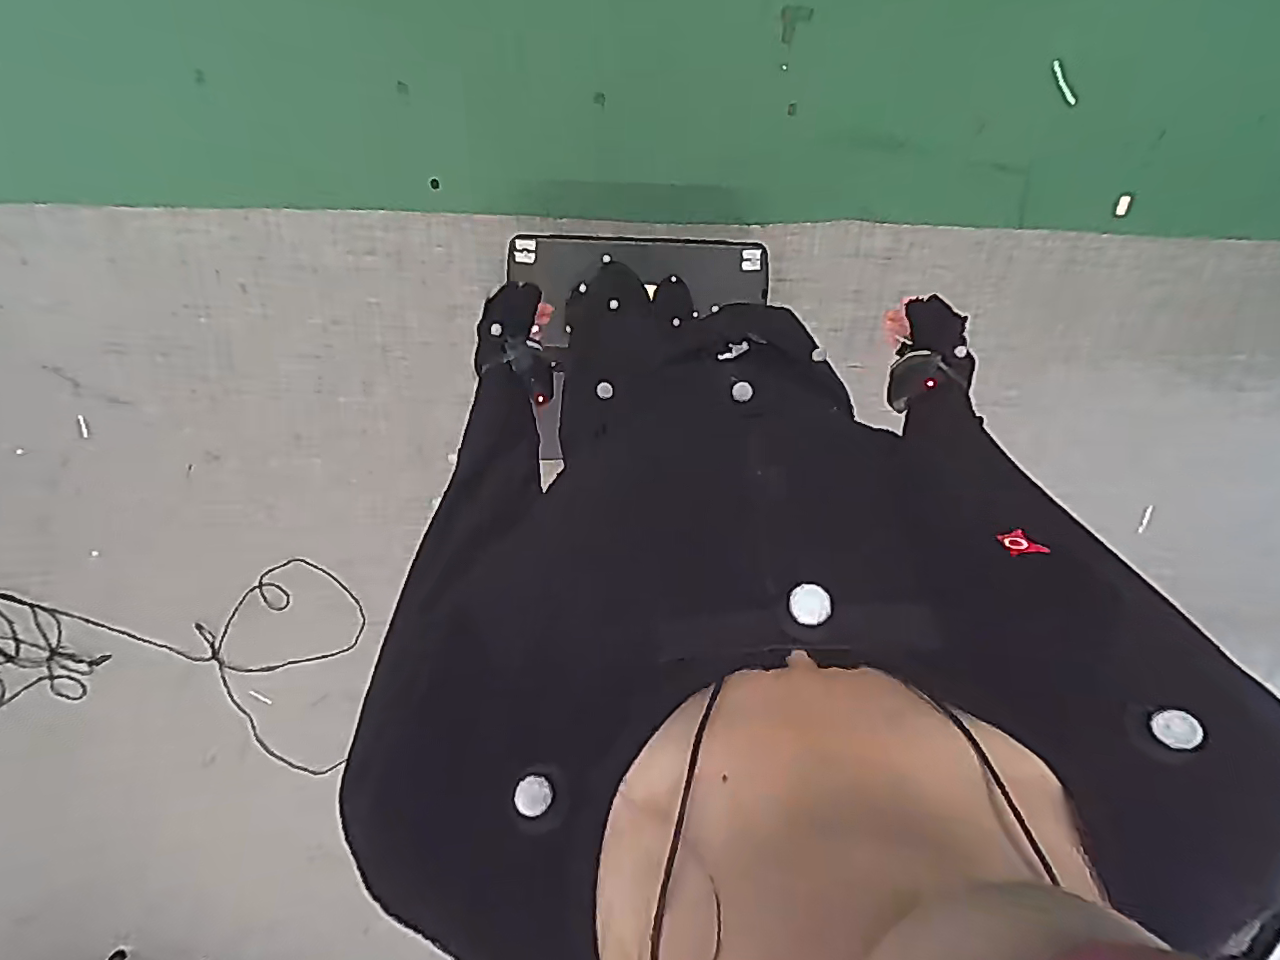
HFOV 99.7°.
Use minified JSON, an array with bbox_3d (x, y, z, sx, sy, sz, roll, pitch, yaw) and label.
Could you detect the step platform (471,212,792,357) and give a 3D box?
[{"bbox_3d":[-0.018,-0.445,1.244,0.684,0.204,0.286,1,112,-1],"label":"step platform"}]
